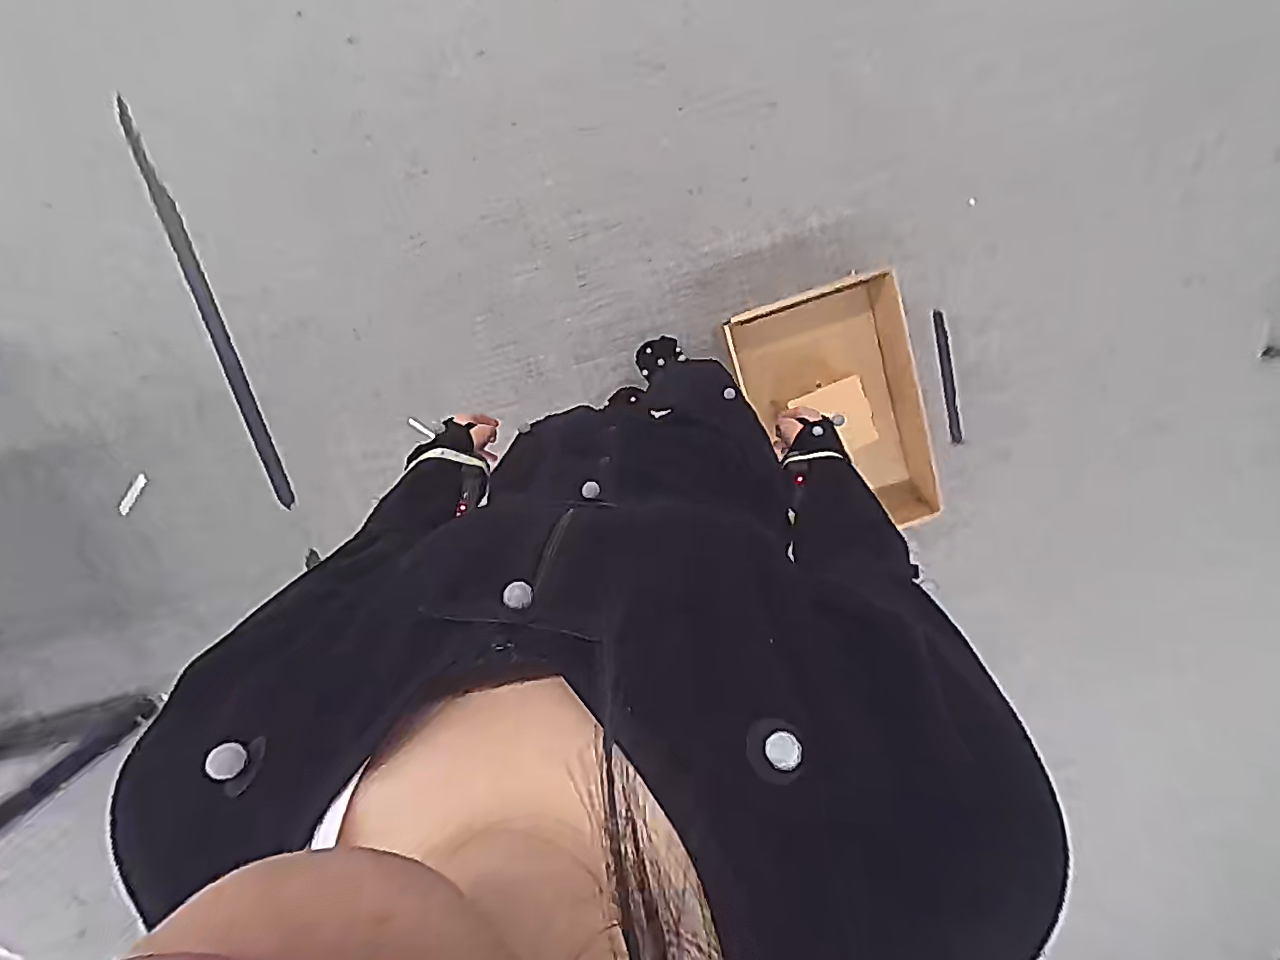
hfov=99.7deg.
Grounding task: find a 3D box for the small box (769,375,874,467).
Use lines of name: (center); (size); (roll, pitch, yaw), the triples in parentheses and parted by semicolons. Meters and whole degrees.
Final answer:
small box: (0.444, -0.153, 1.343); (0.179, 0.176, 0.168); (-22, 102, 6)
